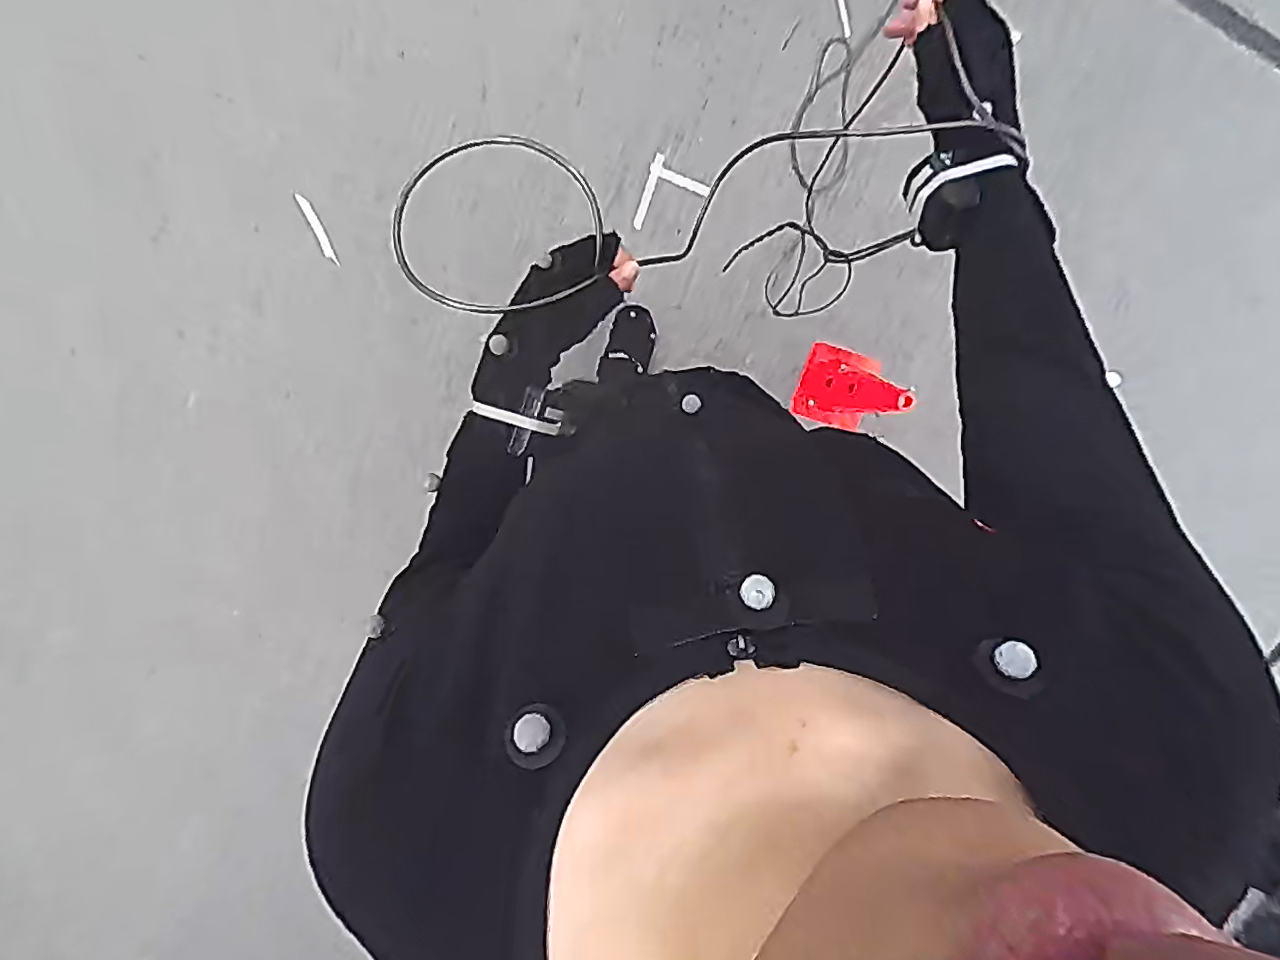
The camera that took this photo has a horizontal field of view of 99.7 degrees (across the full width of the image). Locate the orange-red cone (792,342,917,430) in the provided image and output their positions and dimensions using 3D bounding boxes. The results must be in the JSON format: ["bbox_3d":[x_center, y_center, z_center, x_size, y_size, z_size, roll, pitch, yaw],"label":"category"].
[{"bbox_3d":[0.534,-0.201,1.268,0.199,0.360,0.198,17,104,-9],"label":"orange-red cone"}]
